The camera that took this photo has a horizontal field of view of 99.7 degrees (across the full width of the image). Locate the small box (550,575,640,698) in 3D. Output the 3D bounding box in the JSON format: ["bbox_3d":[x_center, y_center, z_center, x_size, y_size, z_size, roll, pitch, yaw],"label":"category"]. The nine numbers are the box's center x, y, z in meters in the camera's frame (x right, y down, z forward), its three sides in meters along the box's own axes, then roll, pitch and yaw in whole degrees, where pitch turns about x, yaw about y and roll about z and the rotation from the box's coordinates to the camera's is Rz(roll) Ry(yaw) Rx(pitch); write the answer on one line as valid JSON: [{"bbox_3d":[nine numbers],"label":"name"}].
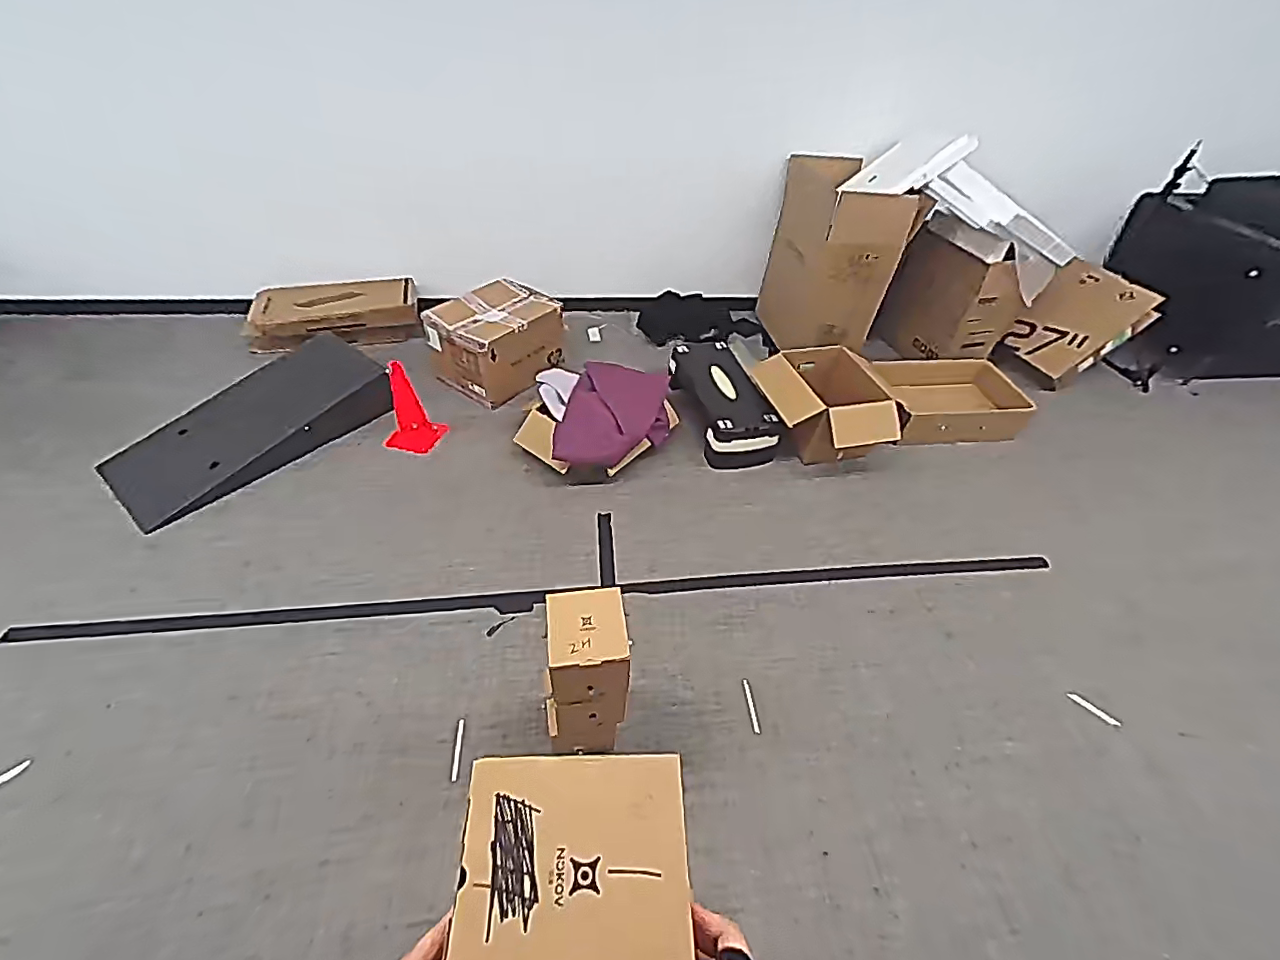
[{"bbox_3d":[-0.097,0.321,1.115,0.168,0.176,0.179,-5,46,-8],"label":"small box"}]

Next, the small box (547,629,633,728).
[{"bbox_3d":[-0.113,0.442,1.228,0.168,0.176,0.179,-8,46,-12],"label":"small box"}]

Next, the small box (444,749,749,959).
[{"bbox_3d":[-0.029,0.306,0.385,0.179,0.176,0.168,1,48,-5],"label":"small box"}]

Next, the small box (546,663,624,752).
[{"bbox_3d":[-0.140,0.559,1.341,0.168,0.176,0.179,-8,47,-11],"label":"small box"}]
